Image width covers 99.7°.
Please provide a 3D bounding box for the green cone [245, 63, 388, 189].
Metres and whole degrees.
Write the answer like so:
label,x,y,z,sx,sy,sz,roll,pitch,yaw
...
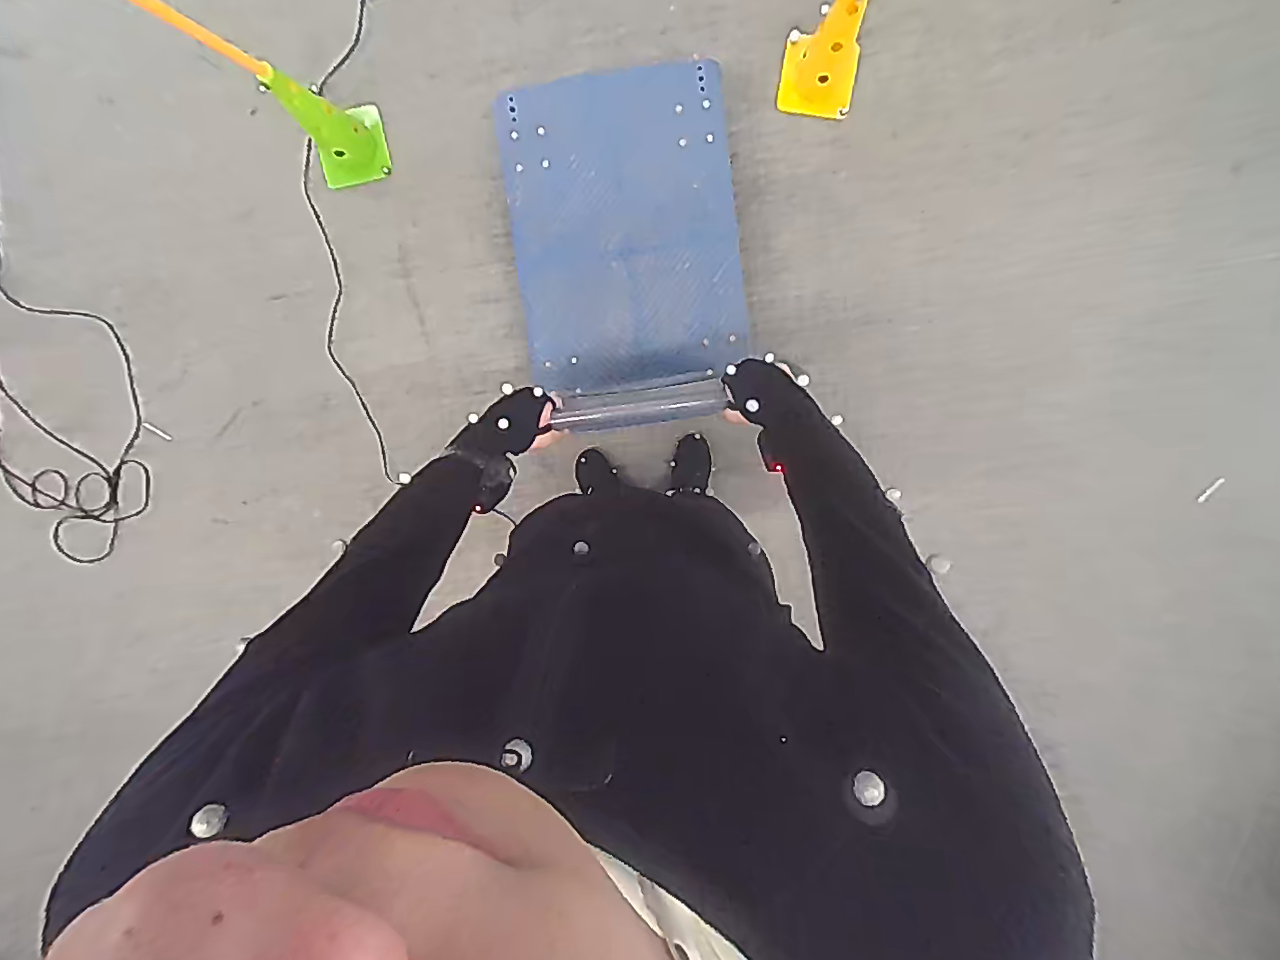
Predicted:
label,x,y,z,sx,sy,sz,roll,pitch,yaw
green cone,-0.848,-0.939,1.384,0.202,0.368,0.200,-12,95,5
